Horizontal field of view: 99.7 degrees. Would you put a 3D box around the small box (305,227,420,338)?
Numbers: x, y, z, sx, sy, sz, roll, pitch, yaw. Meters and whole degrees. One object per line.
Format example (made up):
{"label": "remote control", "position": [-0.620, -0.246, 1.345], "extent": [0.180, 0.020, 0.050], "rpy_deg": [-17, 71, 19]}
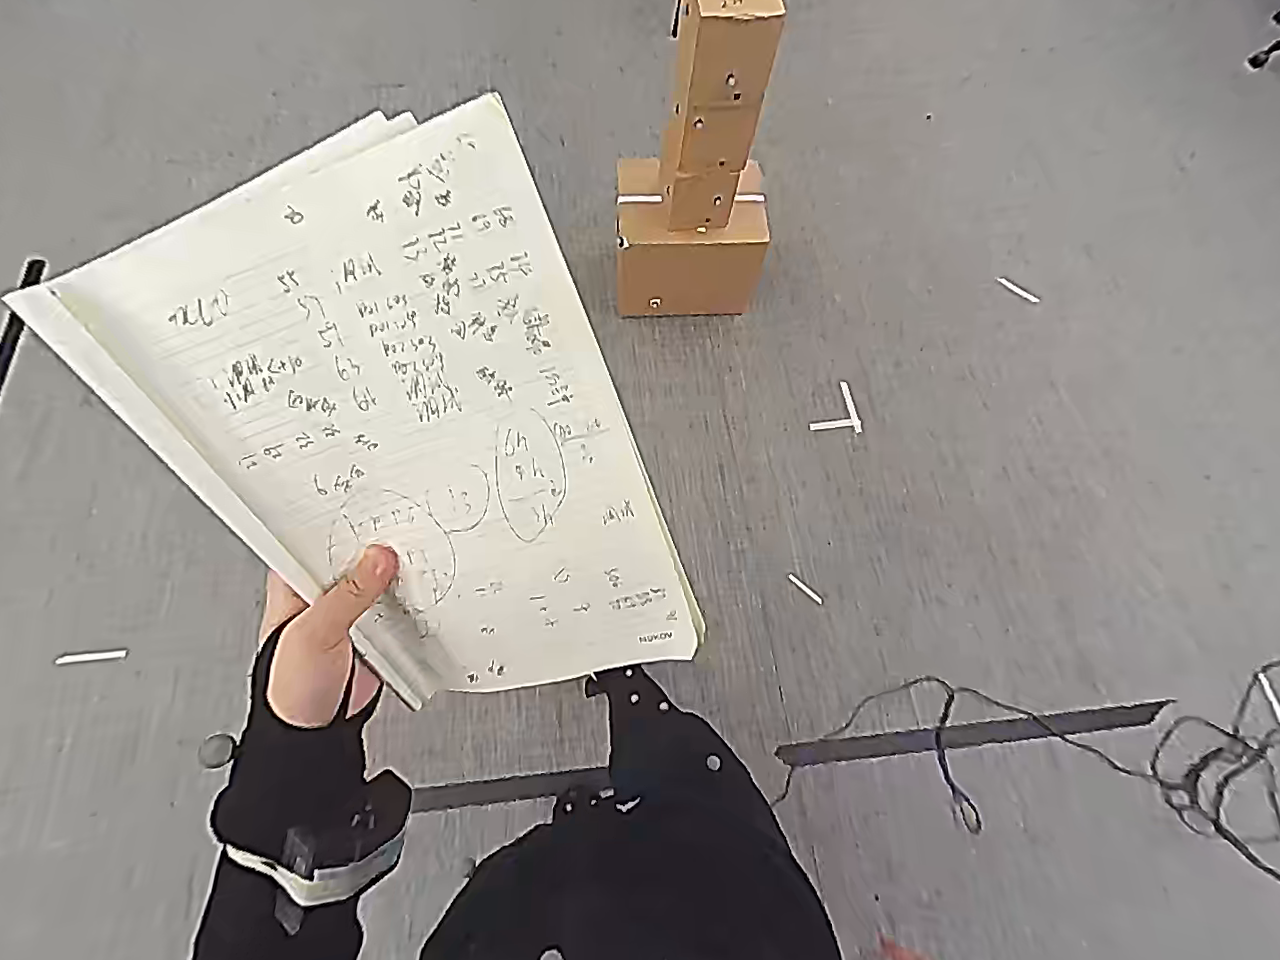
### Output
{"label": "small box", "position": [-0.699, -0.499, 1.384], "extent": [0.179, 0.176, 0.168], "rpy_deg": [-40, 76, -19]}

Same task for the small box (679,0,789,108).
{"label": "small box", "position": [0.179, -0.893, 1.092], "extent": [0.168, 0.176, 0.179], "rpy_deg": [-6, 70, -6]}

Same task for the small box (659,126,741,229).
{"label": "small box", "position": [0.149, -0.774, 1.397], "extent": [0.168, 0.176, 0.179], "rpy_deg": [-8, 69, -7]}

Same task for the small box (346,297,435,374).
{"label": "small box", "position": [-0.707, -0.441, 1.537], "extent": [0.179, 0.176, 0.168], "rpy_deg": [-41, 76, -20]}
